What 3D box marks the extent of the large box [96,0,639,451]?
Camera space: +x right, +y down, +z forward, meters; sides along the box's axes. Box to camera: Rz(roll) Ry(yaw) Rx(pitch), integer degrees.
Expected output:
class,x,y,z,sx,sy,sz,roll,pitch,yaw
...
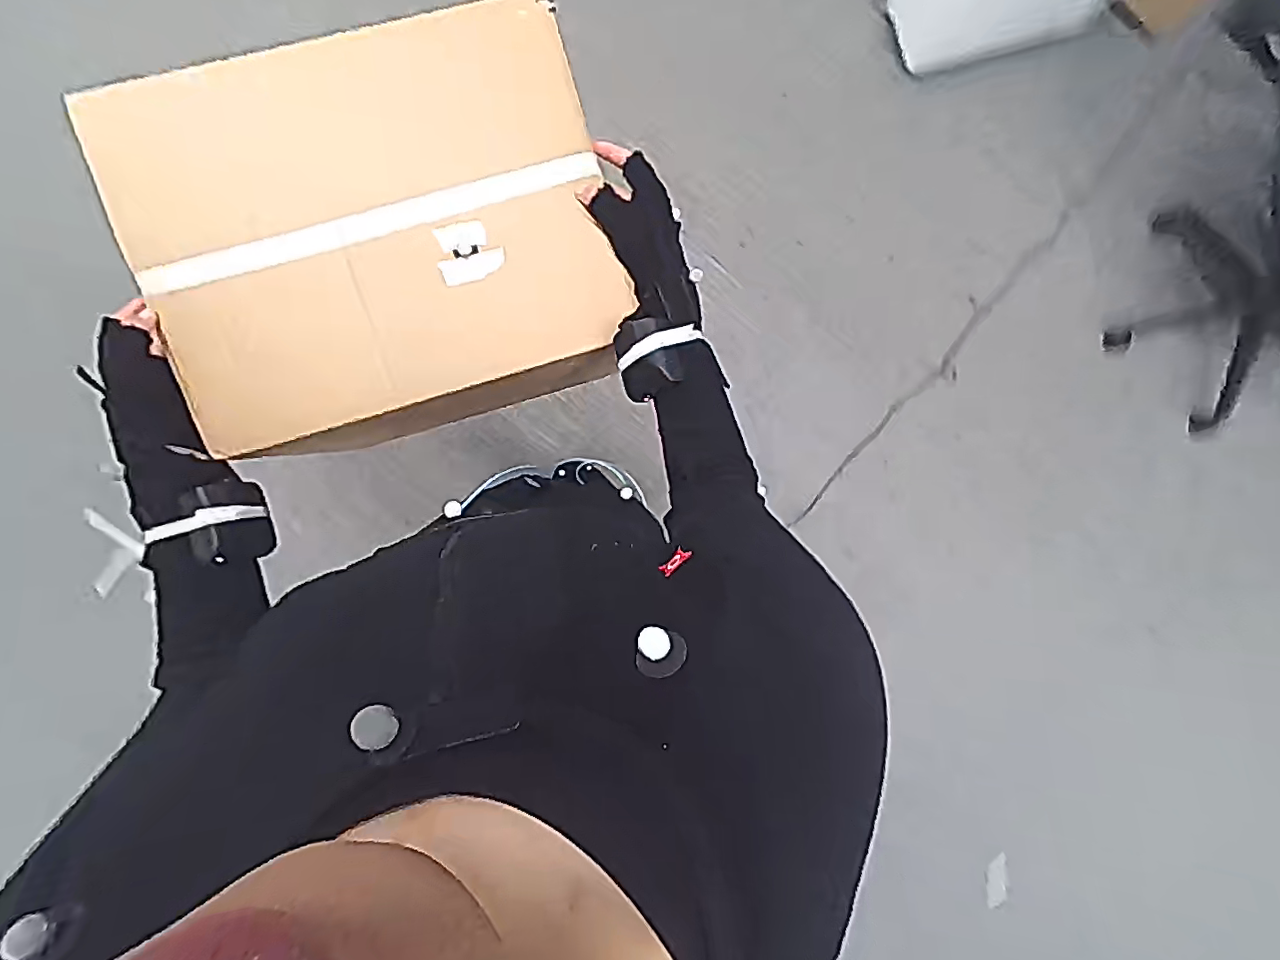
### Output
class,x,y,z,sx,sy,sz,roll,pitch,yaw
large box,-0.252,-0.245,0.640,0.408,0.320,0.320,-19,98,-5
